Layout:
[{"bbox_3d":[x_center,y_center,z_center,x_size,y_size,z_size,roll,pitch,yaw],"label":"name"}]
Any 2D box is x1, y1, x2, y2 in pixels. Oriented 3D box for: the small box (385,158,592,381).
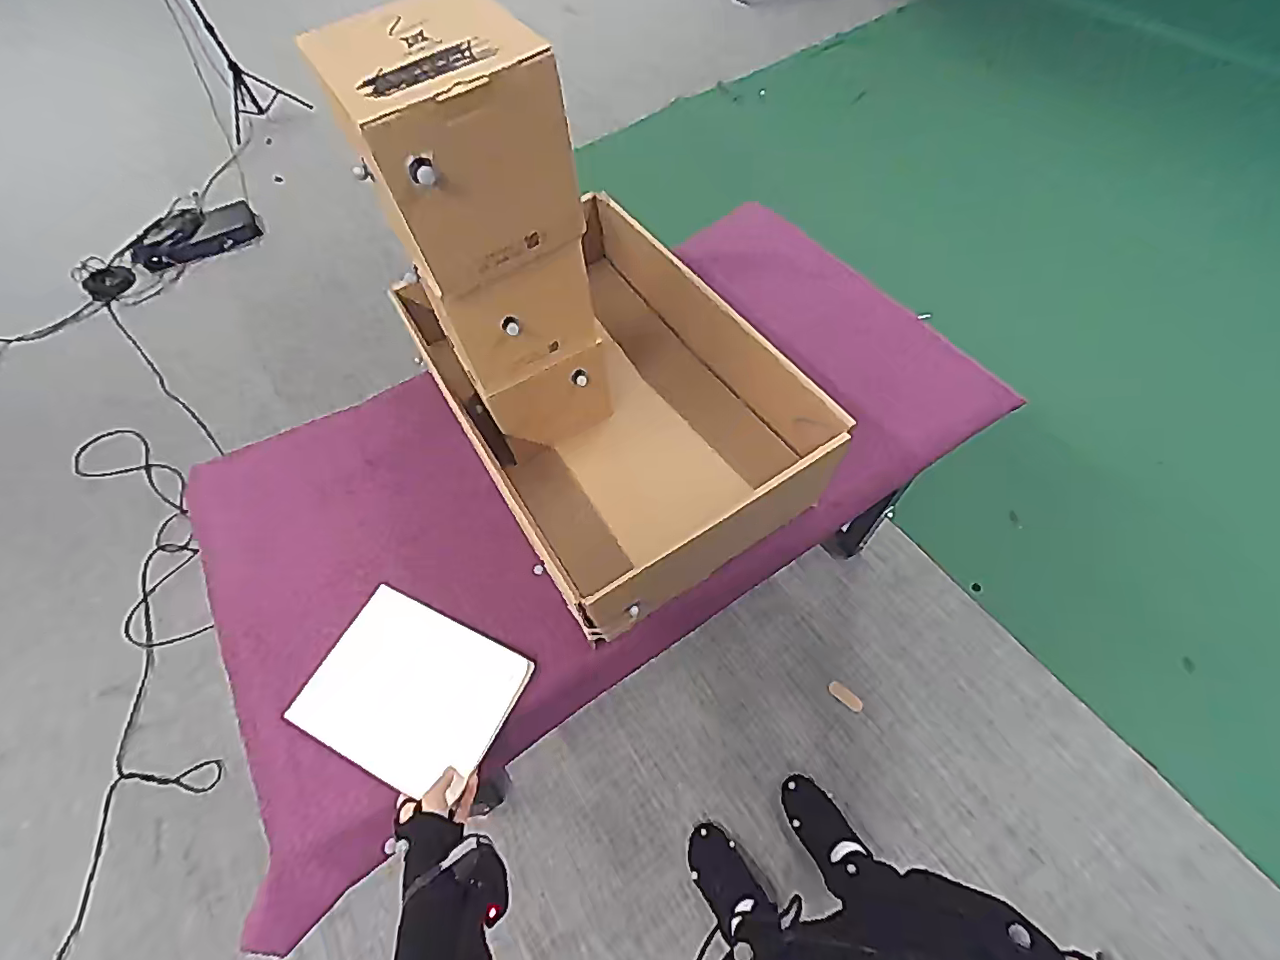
[{"bbox_3d":[-0.174,-0.247,0.667,0.168,0.176,0.179,-30,63,-12],"label":"small box"}]
